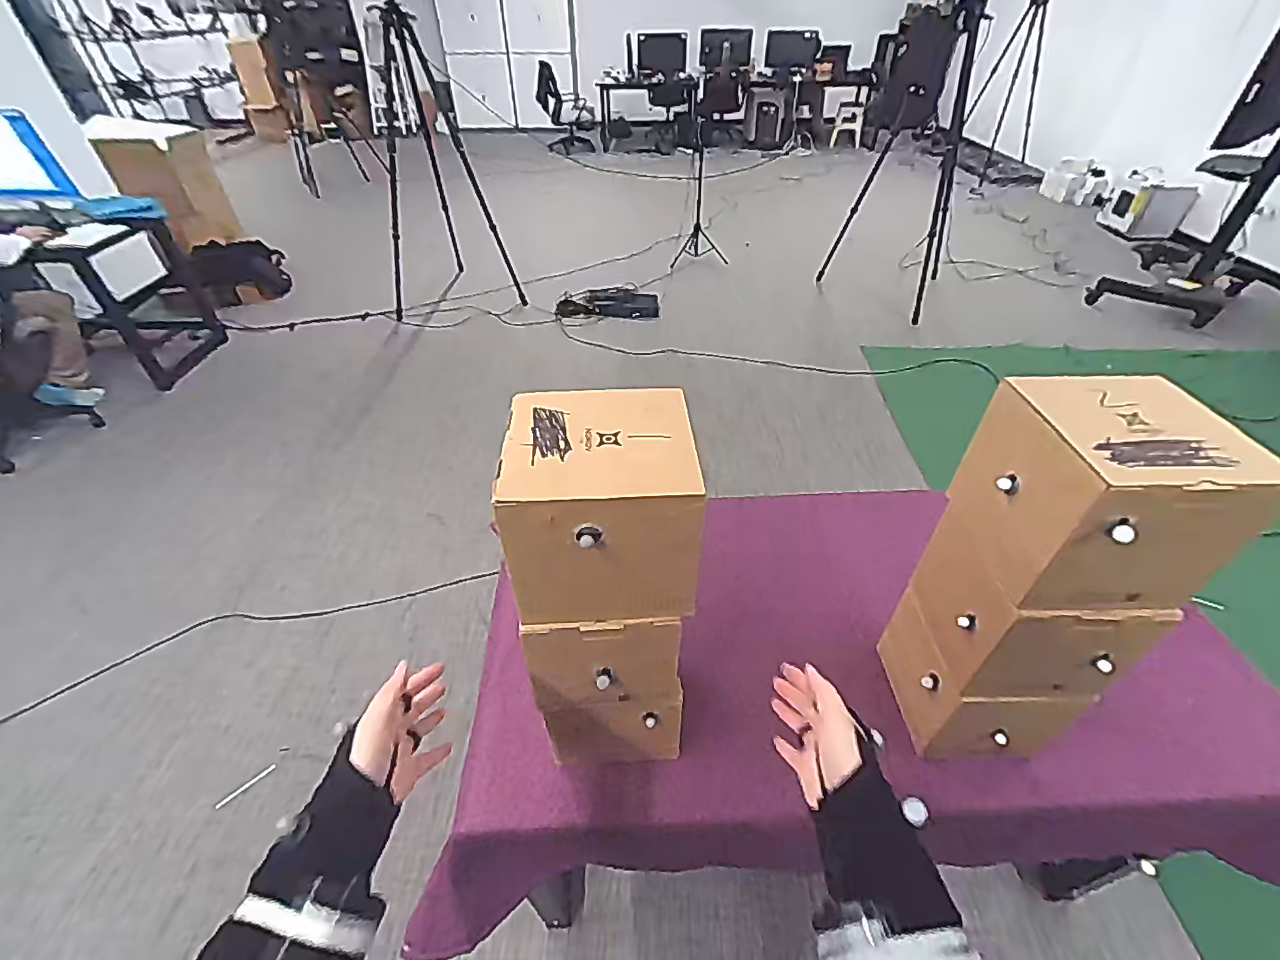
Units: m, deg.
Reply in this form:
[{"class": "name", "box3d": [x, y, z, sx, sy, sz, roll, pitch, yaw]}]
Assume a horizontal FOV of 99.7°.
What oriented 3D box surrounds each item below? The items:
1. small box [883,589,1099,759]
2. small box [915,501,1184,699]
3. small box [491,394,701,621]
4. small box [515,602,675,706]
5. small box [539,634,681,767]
[{"class": "small box", "box3d": [0.466, 0.270, 0.753, 0.168, 0.176, 0.179, -1, 41, 0]}, {"class": "small box", "box3d": [0.462, 0.144, 0.650, 0.168, 0.176, 0.179, 0, 40, 2]}, {"class": "small box", "box3d": [-0.038, 0.029, 0.551, 0.179, 0.176, 0.168, -2, 40, -2]}, {"class": "small box", "box3d": [-0.047, 0.158, 0.655, 0.168, 0.176, 0.179, -2, 41, -2]}, {"class": "small box", "box3d": [-0.037, 0.283, 0.759, 0.179, 0.176, 0.168, -3, 40, -2]}]
